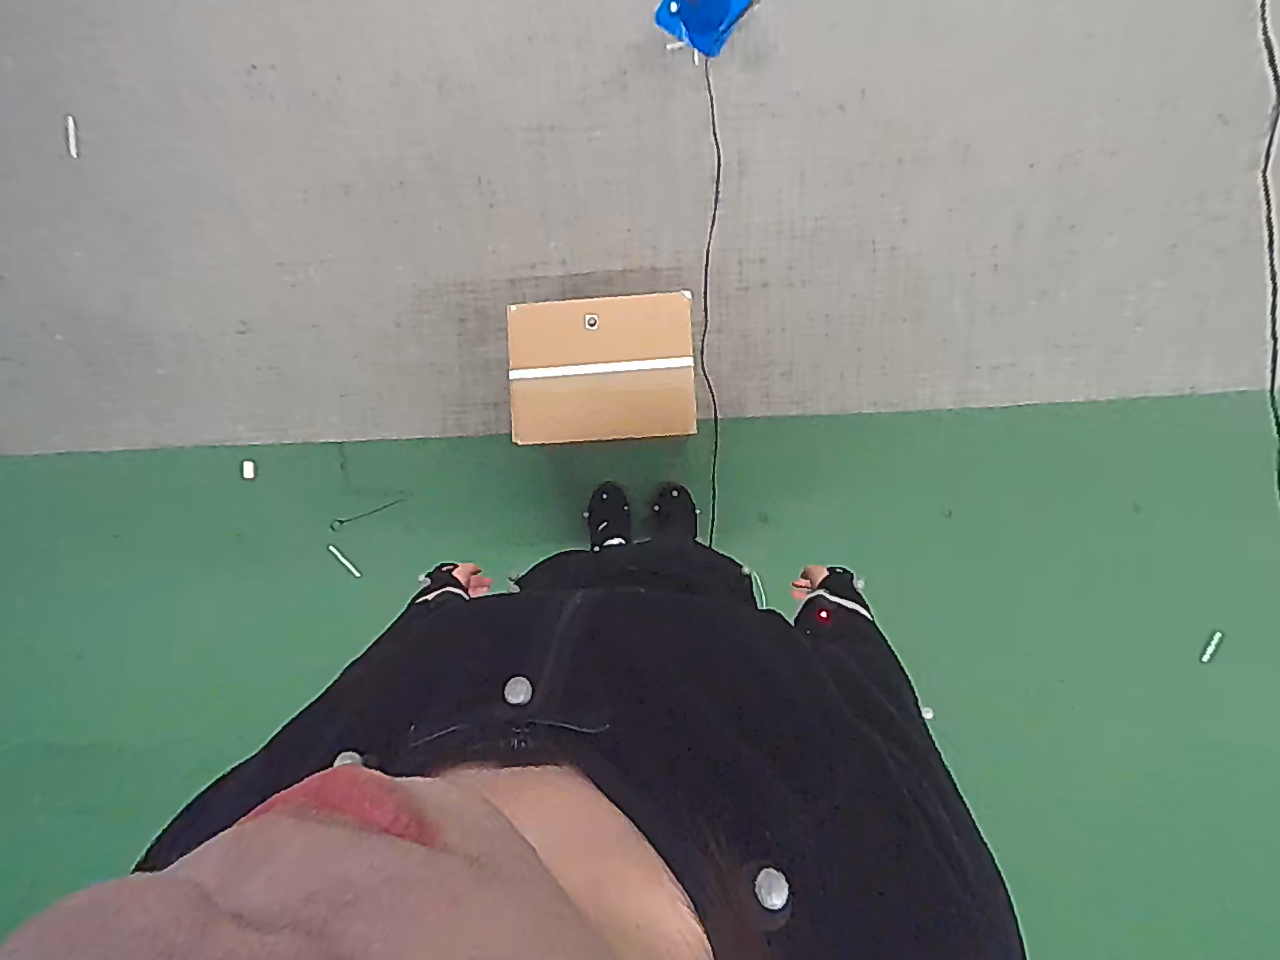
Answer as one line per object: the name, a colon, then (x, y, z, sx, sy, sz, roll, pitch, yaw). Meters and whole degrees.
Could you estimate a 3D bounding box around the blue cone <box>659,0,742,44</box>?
blue cone: (0.154, -1.232, 1.230, 0.192, 0.380, 0.193, 30, 95, 1)
